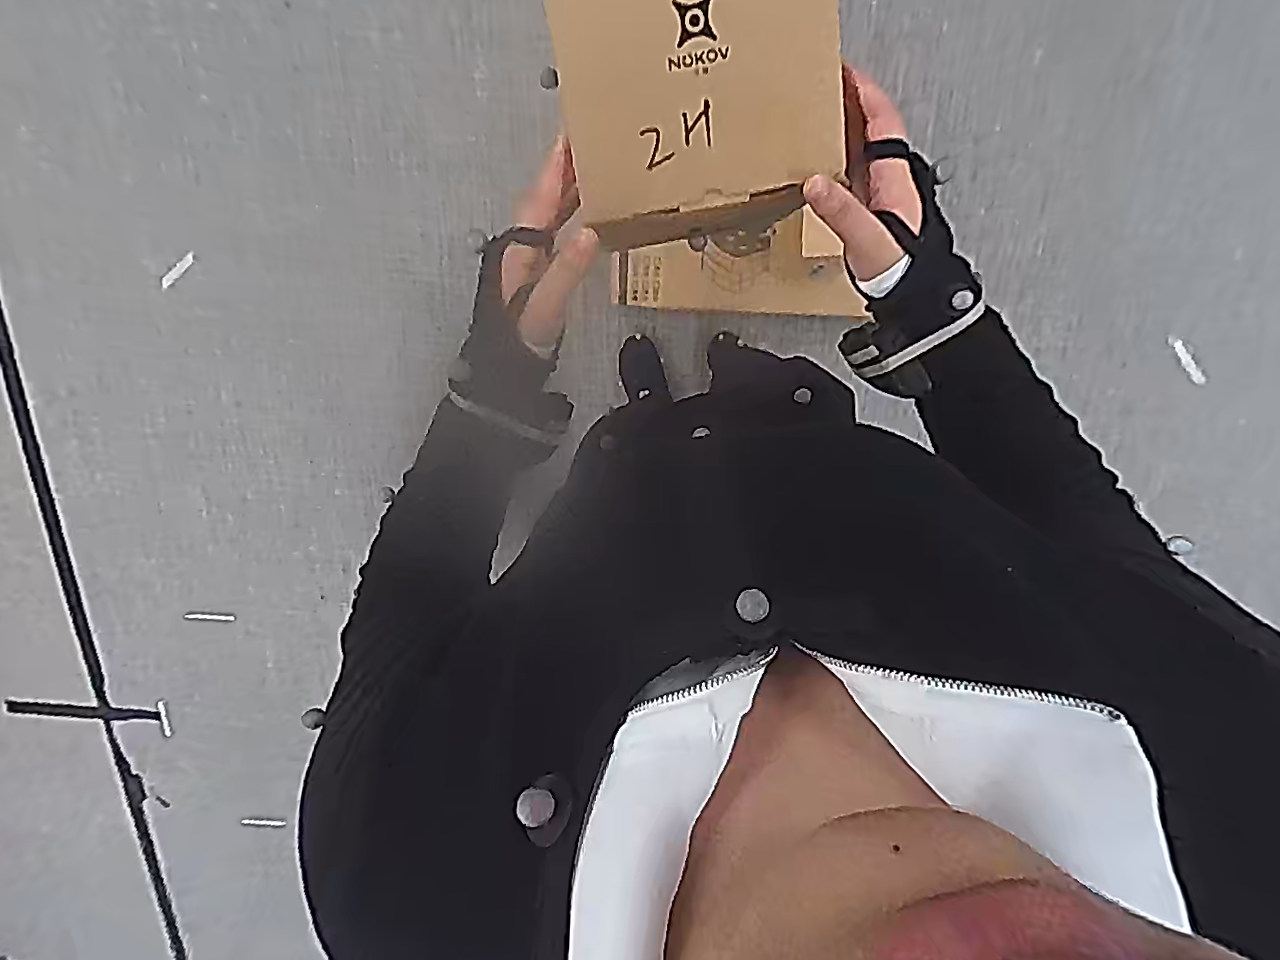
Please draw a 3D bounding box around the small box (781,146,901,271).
[{"bbox_3d":[0.363,-0.495,1.007,0.168,0.176,0.179,-2,105,3],"label":"small box"}]

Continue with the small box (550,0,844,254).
[{"bbox_3d":[0.032,-0.276,0.389,0.168,0.176,0.179,-9,107,3],"label":"small box"}]

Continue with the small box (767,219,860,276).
[{"bbox_3d":[0.375,-0.537,1.164,0.168,0.176,0.179,0,106,1],"label":"small box"}]
